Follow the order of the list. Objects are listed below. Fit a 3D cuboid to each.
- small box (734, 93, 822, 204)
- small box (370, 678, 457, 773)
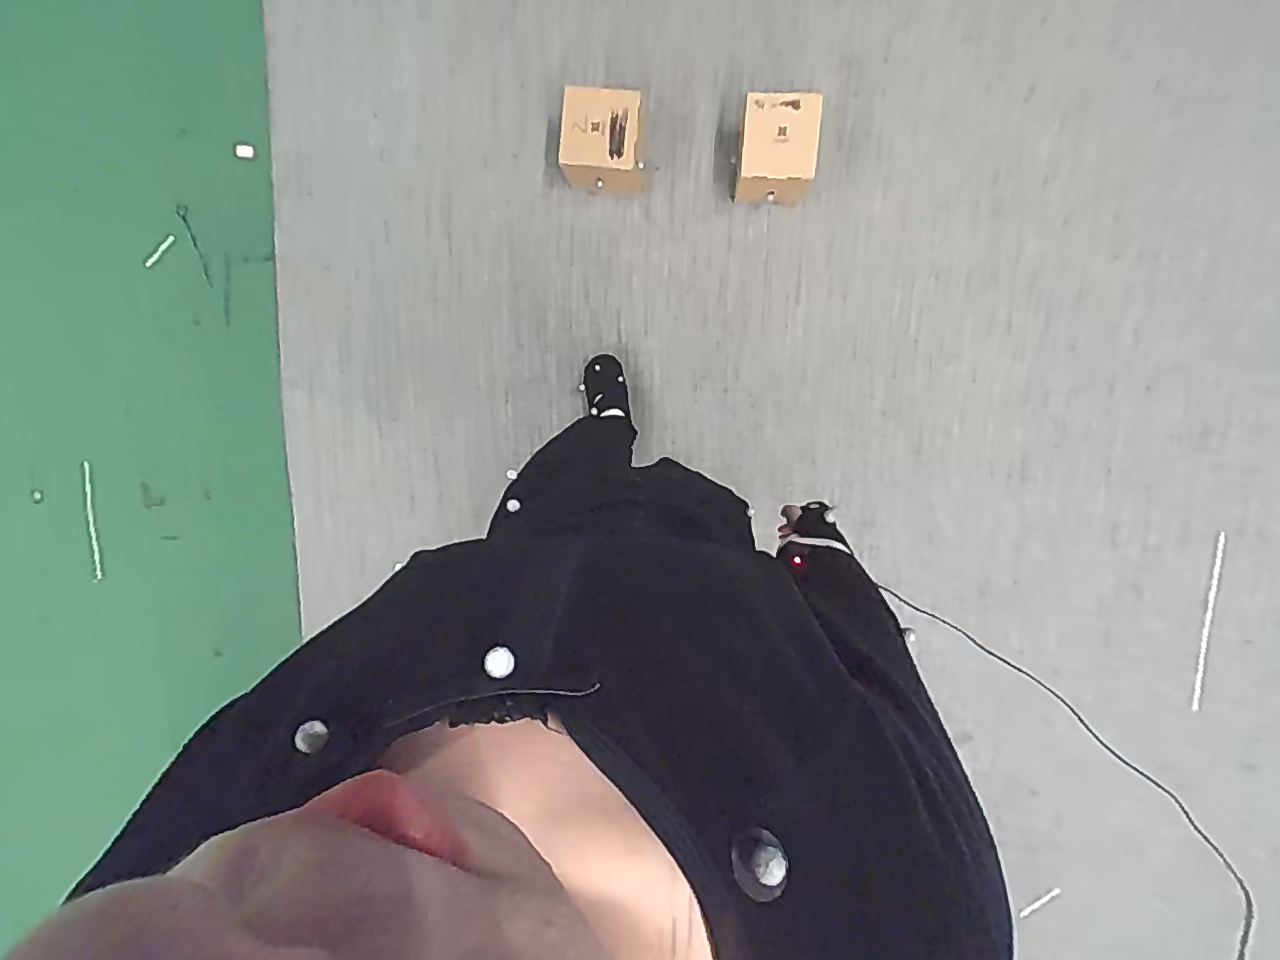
[{"bbox_3d":[0.316,-0.768,1.269,0.168,0.176,0.179,5,99,4],"label":"small box"},{"bbox_3d":[-0.648,0.701,1.563,0.168,0.176,0.179,11,99,4],"label":"small box"}]
